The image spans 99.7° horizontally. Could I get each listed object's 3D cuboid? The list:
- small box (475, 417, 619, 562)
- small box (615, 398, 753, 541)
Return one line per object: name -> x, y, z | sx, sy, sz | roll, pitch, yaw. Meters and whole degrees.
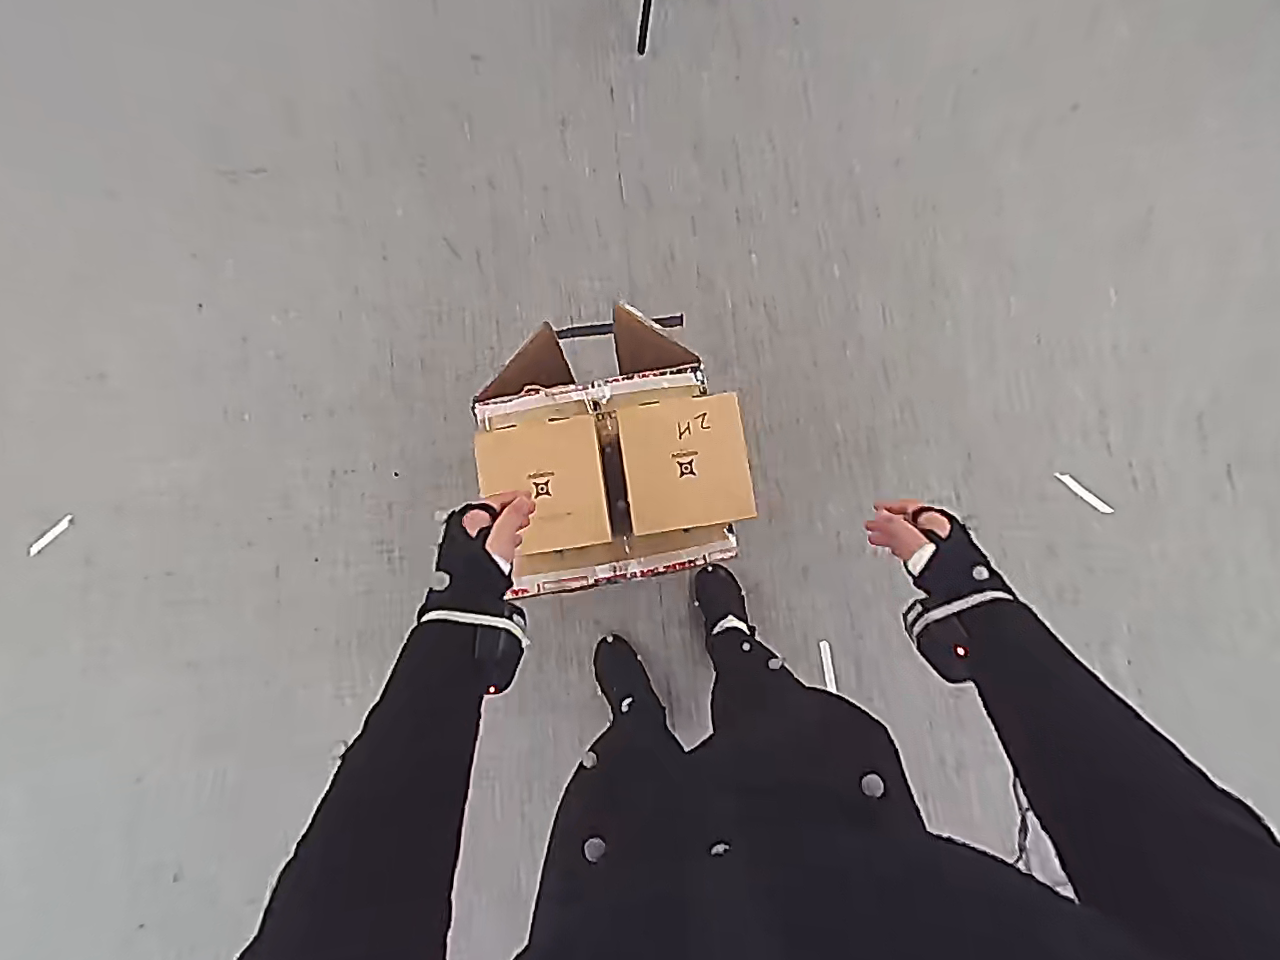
small box -> -0.128, 0.018, 0.799 | 0.168, 0.176, 0.179 | -10, 86, 1
small box -> 0.058, -0.009, 0.800 | 0.168, 0.176, 0.179 | -8, 84, -2
